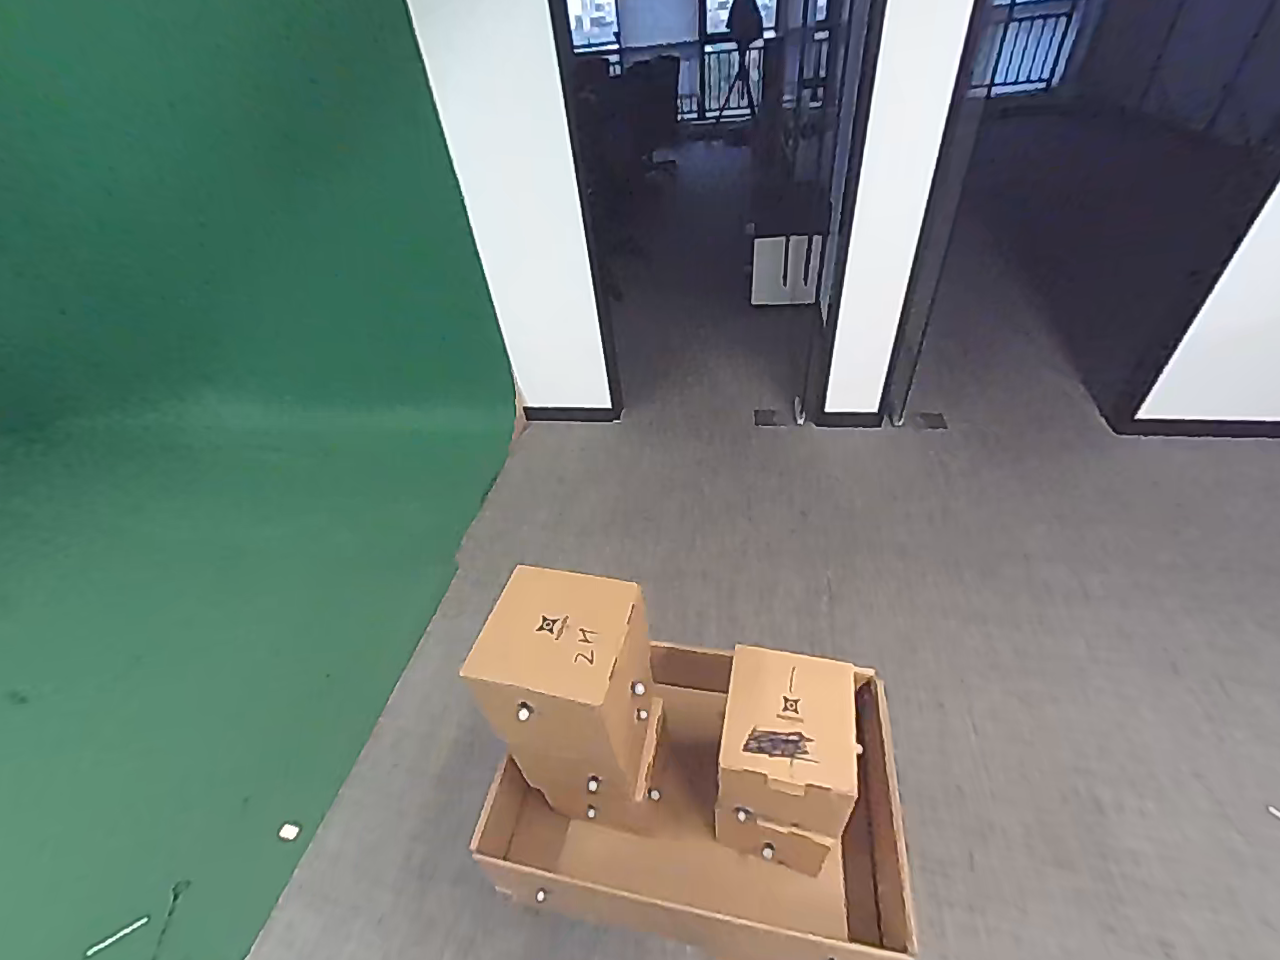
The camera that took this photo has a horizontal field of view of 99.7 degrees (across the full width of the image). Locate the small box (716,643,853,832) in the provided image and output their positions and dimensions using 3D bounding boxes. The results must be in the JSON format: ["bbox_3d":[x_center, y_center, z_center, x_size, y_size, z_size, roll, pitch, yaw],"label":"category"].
[{"bbox_3d":[0.205,0.363,0.764,0.168,0.176,0.179,5,42,15],"label":"small box"}]

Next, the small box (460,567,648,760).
[{"bbox_3d":[-0.097,0.239,0.707,0.179,0.176,0.168,6,44,15],"label":"small box"}]

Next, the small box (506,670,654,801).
[{"bbox_3d":[-0.076,0.357,0.820,0.168,0.176,0.179,4,42,13],"label":"small box"}]
